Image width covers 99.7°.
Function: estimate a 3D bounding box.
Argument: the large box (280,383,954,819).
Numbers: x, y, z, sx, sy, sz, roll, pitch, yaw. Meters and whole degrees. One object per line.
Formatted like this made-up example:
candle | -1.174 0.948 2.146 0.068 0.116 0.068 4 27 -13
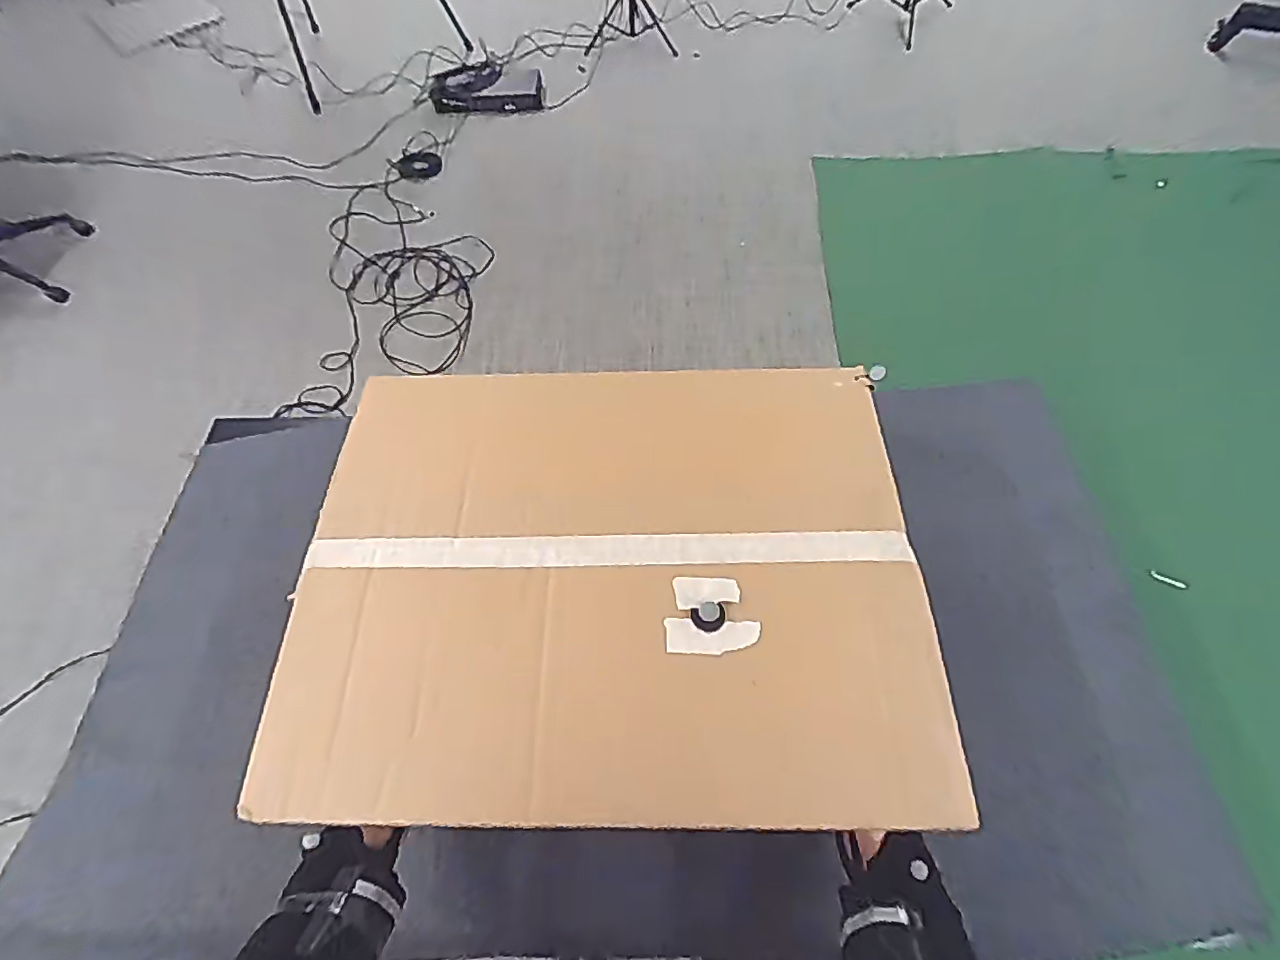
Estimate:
large box | -0.014 0.129 0.515 0.408 0.320 0.320 -1 61 1
